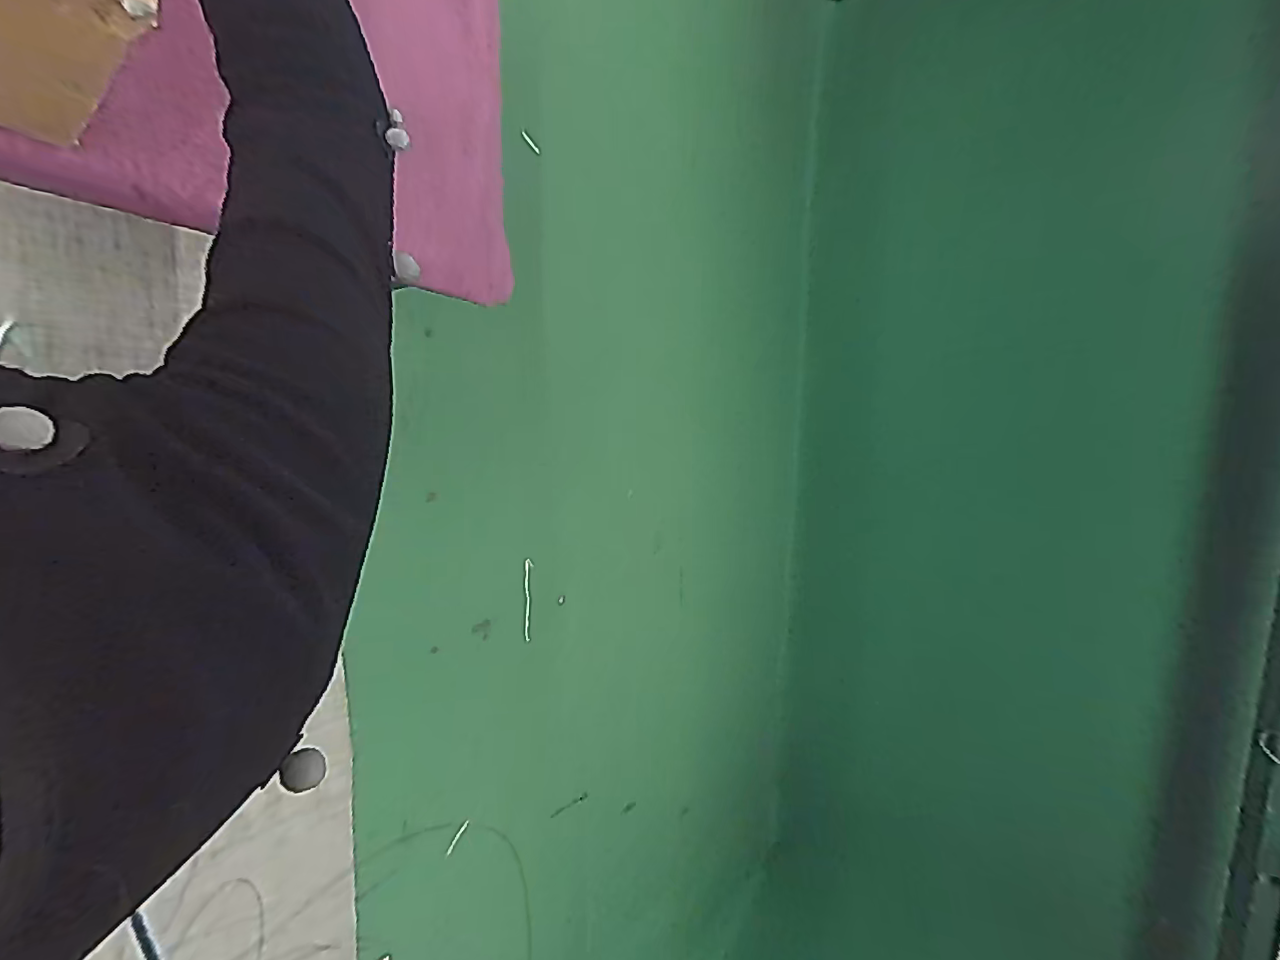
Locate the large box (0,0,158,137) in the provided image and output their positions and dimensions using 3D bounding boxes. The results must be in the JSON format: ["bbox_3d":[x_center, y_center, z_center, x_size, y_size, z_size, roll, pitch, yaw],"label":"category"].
[{"bbox_3d":[-0.530,-0.520,0.321,0.320,0.320,0.408,-1,96,-53],"label":"large box"}]
